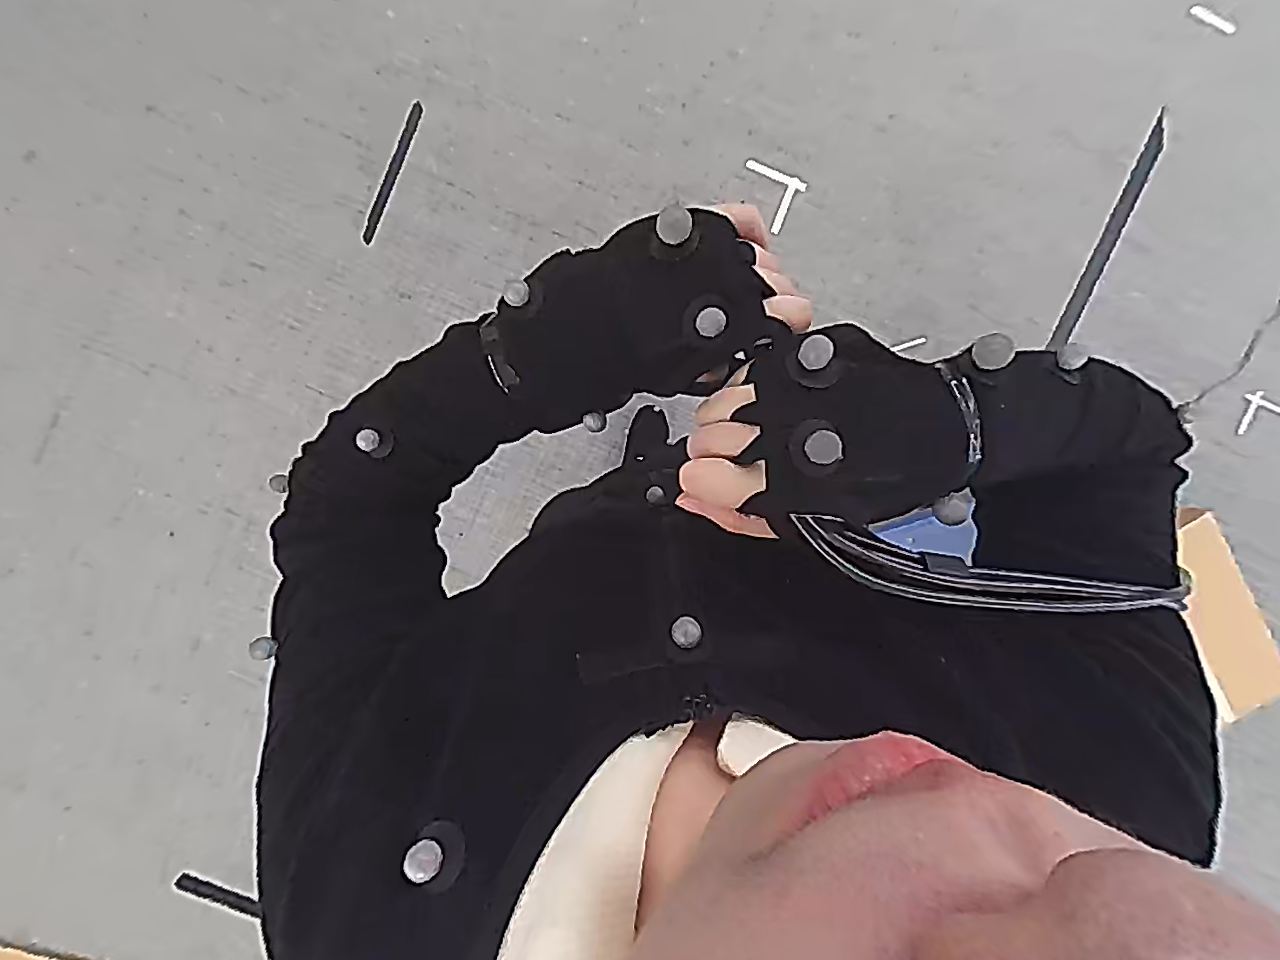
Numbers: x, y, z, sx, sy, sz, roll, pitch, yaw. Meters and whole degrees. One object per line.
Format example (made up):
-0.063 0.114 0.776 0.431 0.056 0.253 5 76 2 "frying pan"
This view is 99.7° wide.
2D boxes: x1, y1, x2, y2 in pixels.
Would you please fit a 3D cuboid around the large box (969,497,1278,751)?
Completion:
1.048 0.292 1.218 0.320 0.320 0.408 -28 94 0 "large box"
